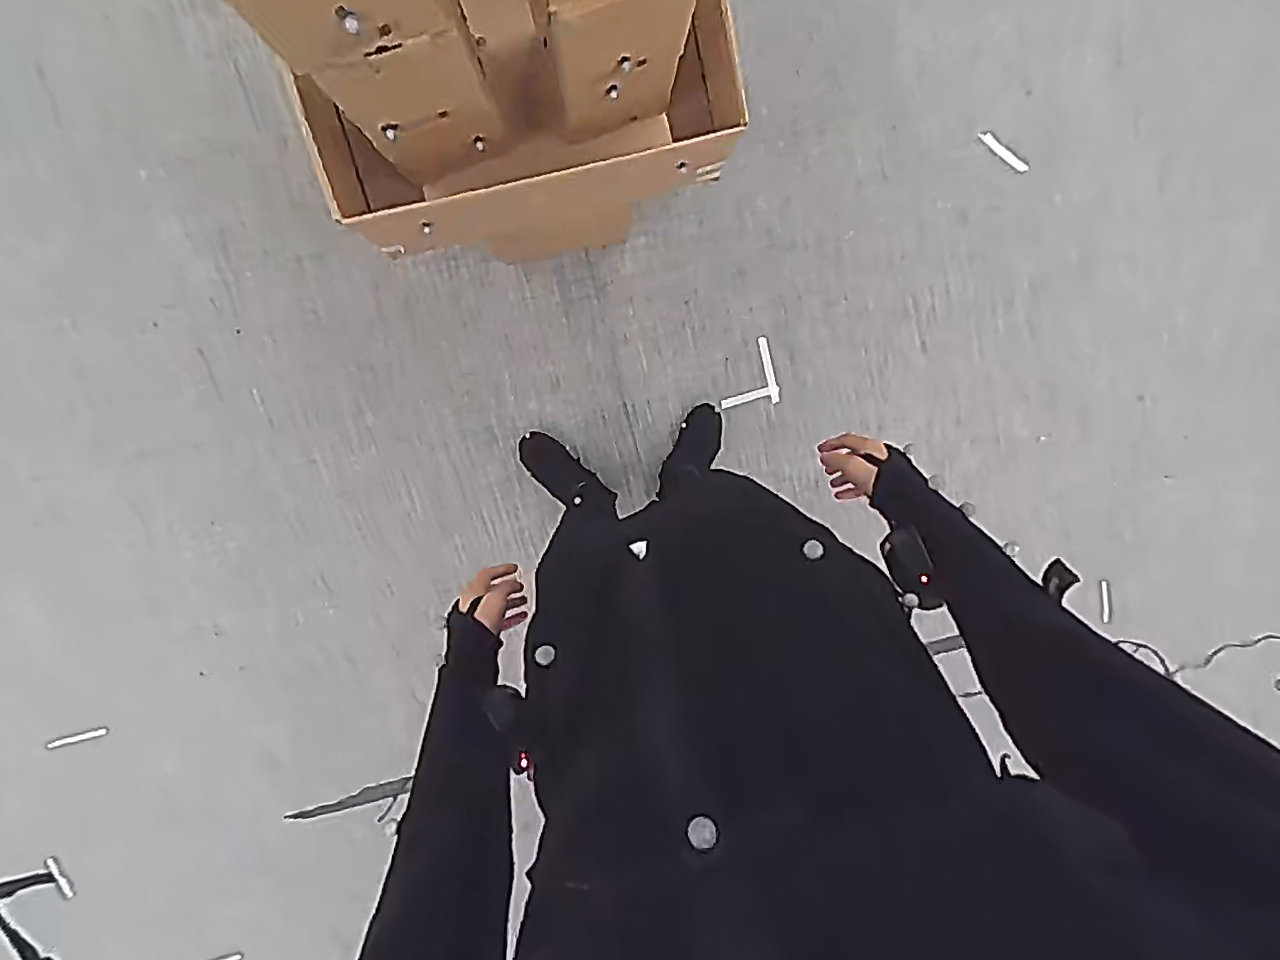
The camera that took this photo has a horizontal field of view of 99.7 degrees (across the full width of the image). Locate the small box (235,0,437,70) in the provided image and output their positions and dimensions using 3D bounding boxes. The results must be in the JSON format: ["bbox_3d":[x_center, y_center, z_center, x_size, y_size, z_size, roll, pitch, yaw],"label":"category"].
[{"bbox_3d":[-0.302,-0.511,0.464,0.168,0.176,0.179,-20,100,0],"label":"small box"}]

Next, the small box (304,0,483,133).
[{"bbox_3d":[-0.300,-0.538,0.628,0.168,0.176,0.179,-18,100,-1],"label":"small box"}]
